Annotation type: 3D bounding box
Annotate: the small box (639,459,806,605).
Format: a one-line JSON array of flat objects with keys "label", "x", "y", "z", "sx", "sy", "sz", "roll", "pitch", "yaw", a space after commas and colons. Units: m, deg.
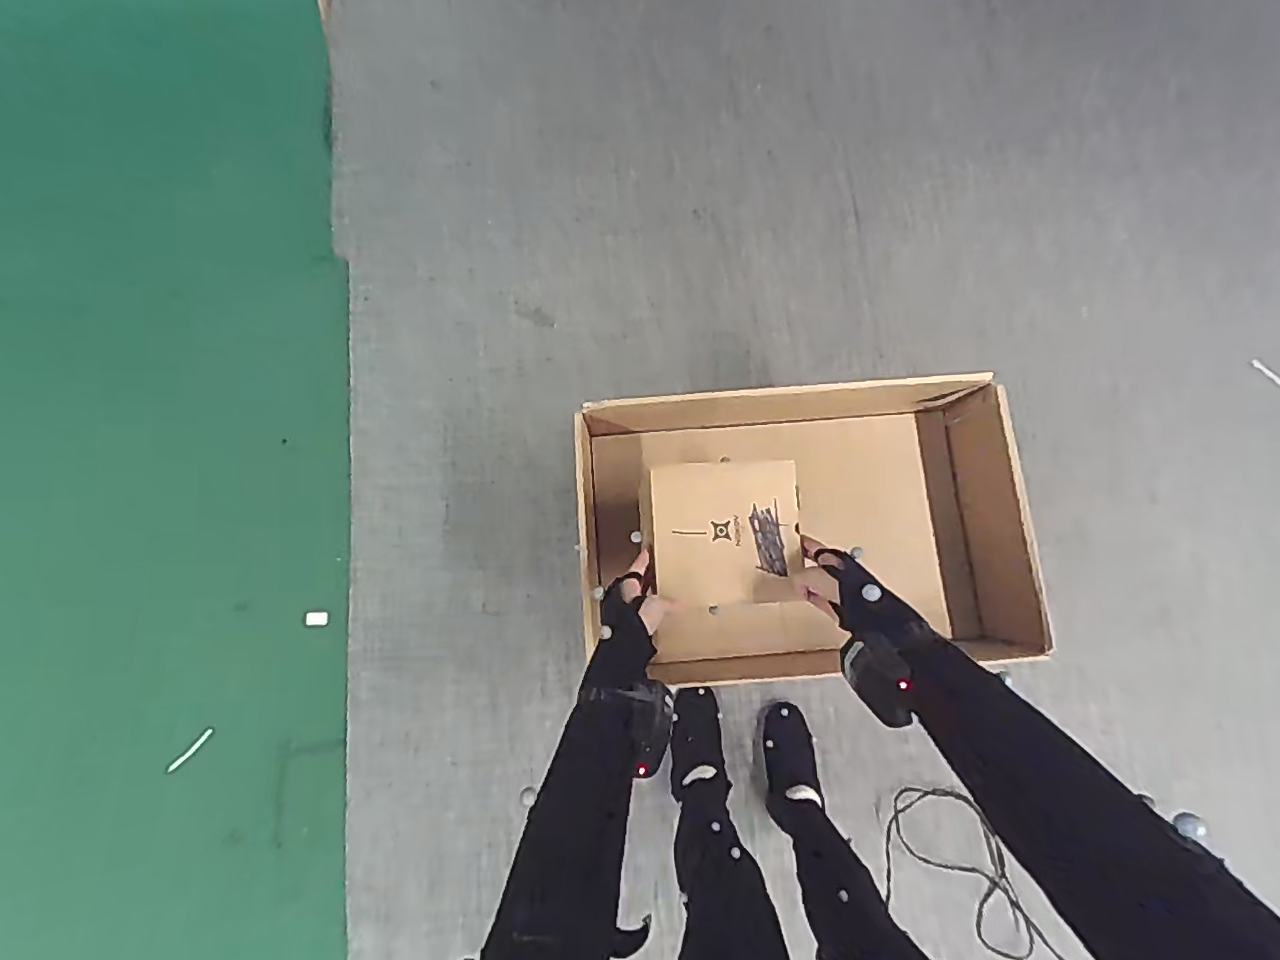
[{"label": "small box", "x": 0.094, "y": 0.070, "z": 0.698, "sx": 0.179, "sy": 0.176, "sz": 0.168, "roll": -2, "pitch": 80, "yaw": -4}]
